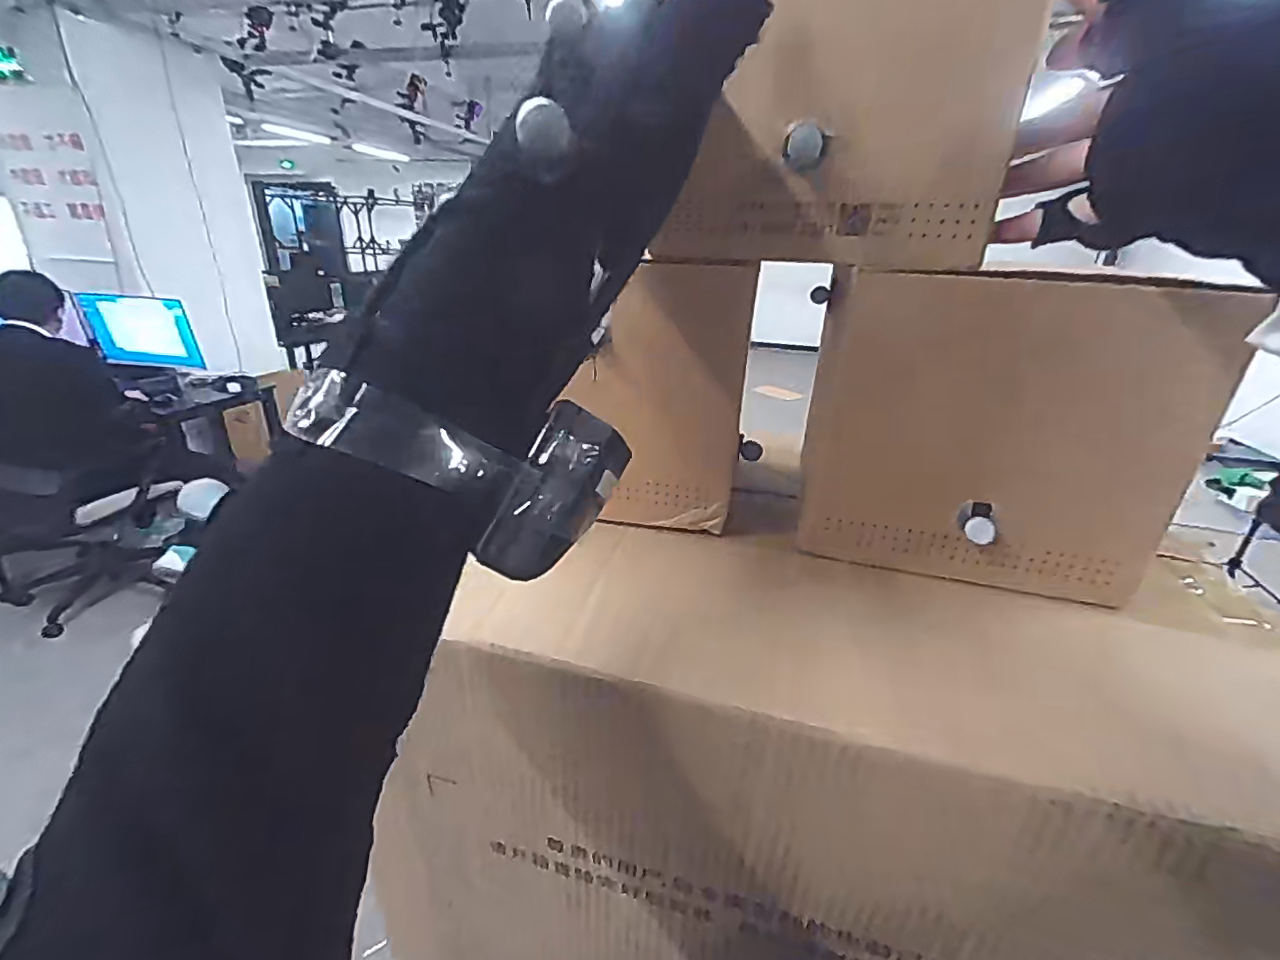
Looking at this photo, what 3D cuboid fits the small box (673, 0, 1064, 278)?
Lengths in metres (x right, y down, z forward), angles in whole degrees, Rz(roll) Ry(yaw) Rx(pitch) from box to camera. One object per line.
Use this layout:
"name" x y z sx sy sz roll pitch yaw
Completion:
"small box" 0.117 -0.216 0.323 0.168 0.176 0.179 8 25 14

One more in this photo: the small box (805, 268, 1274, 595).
"small box" 0.213 -0.045 0.356 0.179 0.176 0.168 8 24 13

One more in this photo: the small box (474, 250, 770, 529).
"small box" -0.001 -0.078 0.406 0.179 0.176 0.168 8 25 10
